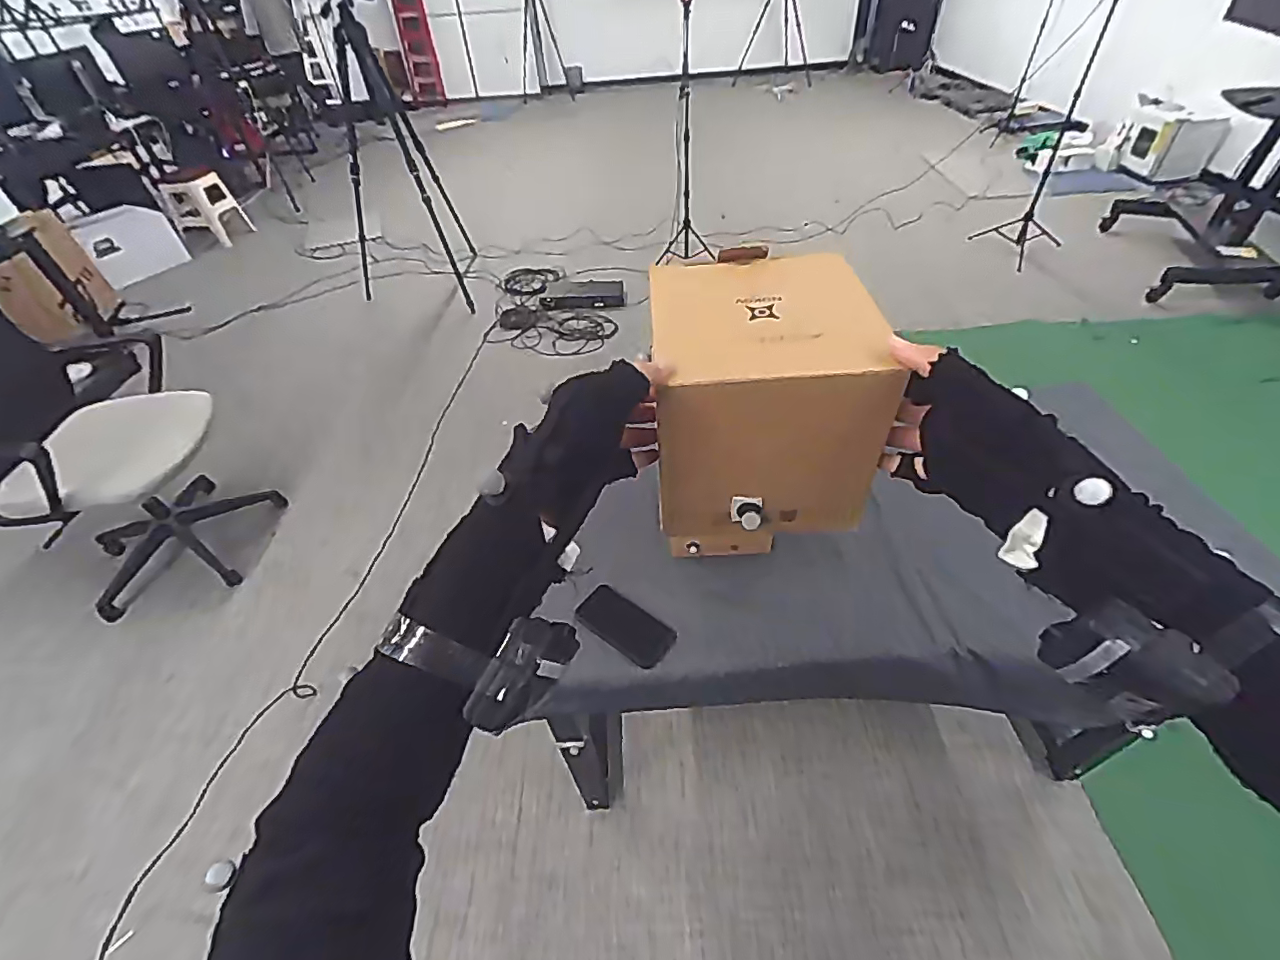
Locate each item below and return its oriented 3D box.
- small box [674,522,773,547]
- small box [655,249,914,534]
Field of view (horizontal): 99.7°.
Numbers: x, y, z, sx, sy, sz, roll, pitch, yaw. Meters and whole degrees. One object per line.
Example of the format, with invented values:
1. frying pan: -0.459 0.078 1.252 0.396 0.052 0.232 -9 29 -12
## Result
1. small box: 0.139 0.002 0.926 0.168 0.176 0.179 -2 44 2
2. small box: 0.098 -0.074 0.461 0.168 0.176 0.179 -4 47 2
